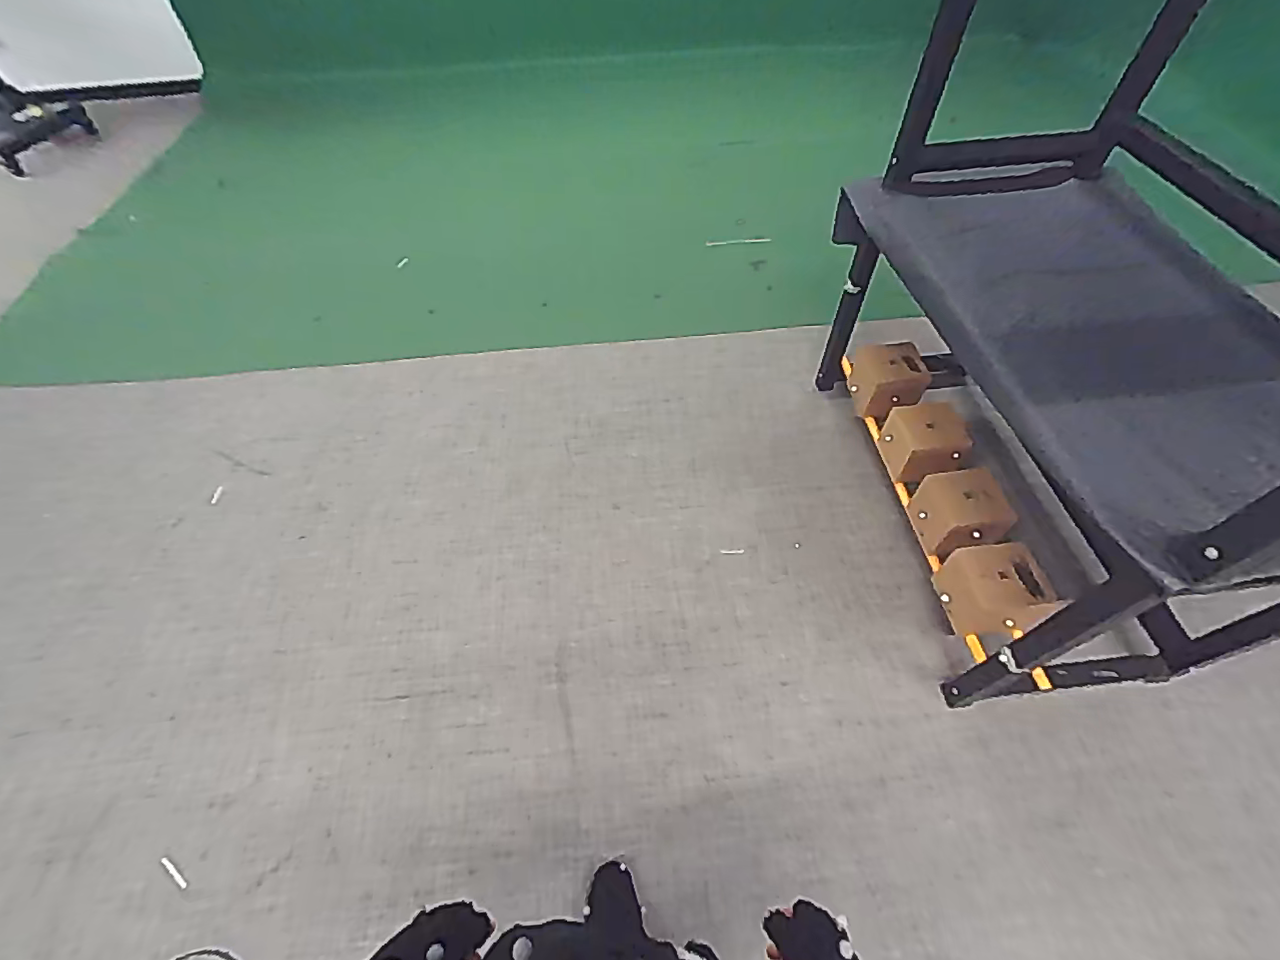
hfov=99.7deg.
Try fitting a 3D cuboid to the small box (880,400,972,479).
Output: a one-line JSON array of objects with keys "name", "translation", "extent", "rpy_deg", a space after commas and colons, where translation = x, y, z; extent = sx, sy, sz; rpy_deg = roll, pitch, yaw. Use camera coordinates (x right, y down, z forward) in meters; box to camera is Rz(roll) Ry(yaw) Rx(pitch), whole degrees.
[{"name": "small box", "translation": [0.840, -0.117, 1.615], "extent": [0.179, 0.176, 0.168], "rpy_deg": [-5, 56, 0]}]

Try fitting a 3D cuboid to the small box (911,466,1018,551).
[{"name": "small box", "translation": [0.867, 0.082, 1.473], "extent": [0.179, 0.176, 0.168], "rpy_deg": [-6, 56, -1]}]
